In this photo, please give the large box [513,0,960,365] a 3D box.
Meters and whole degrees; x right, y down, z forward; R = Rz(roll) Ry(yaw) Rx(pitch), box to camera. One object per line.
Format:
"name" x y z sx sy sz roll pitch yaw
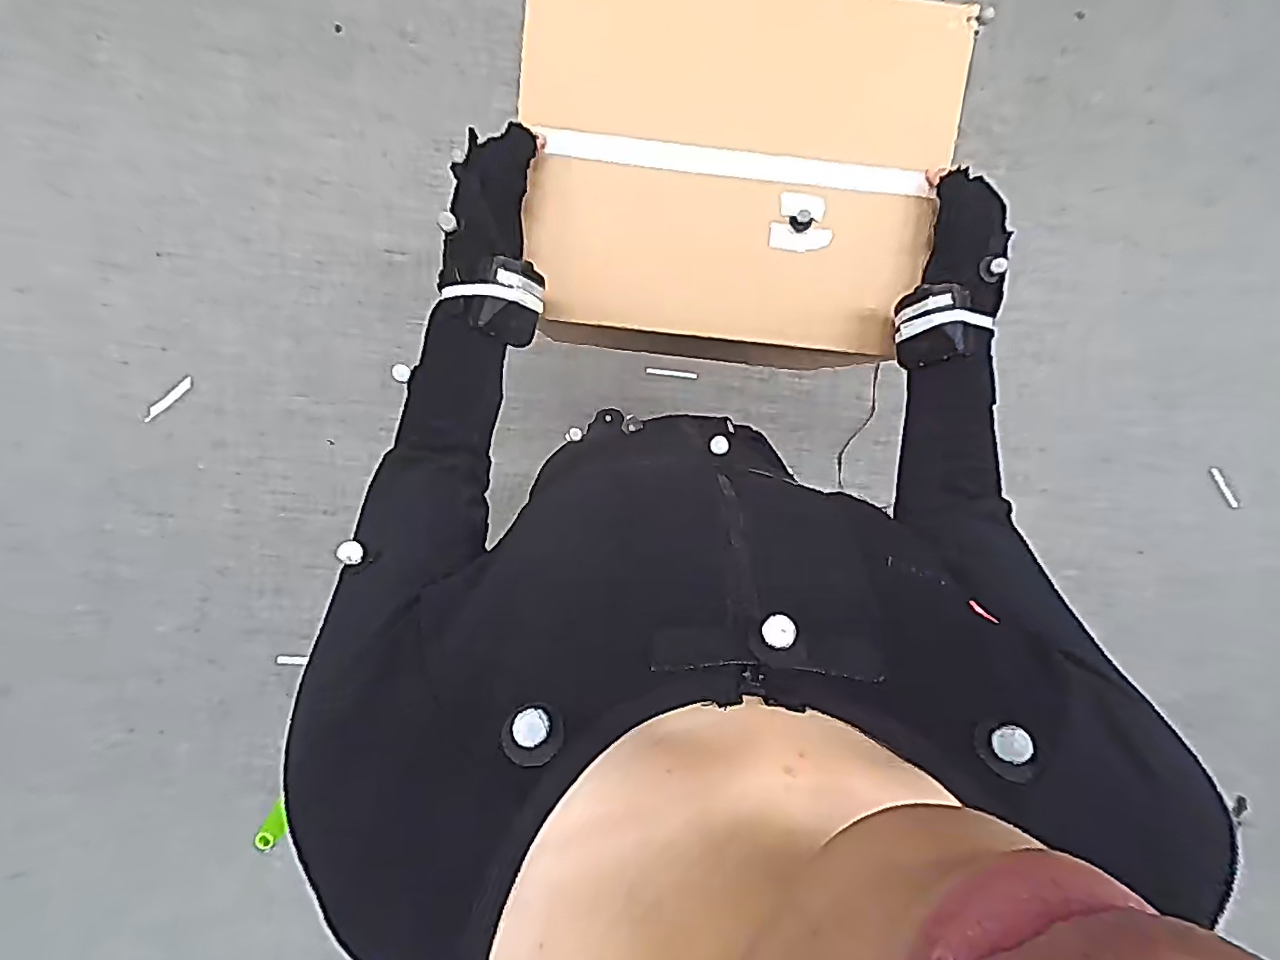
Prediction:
"large box" 0.078 -0.320 0.655 0.408 0.320 0.320 5 99 -3
